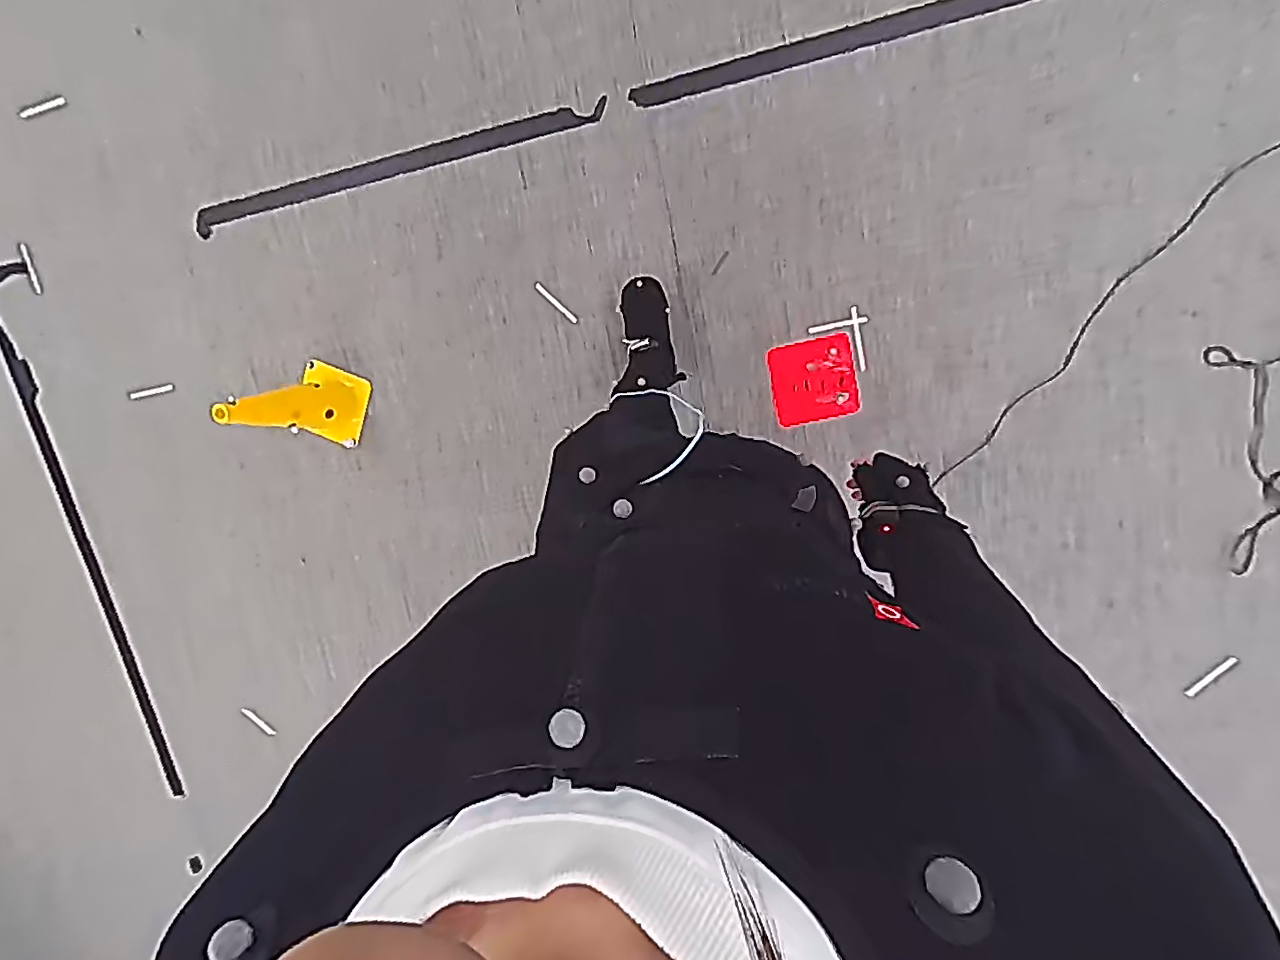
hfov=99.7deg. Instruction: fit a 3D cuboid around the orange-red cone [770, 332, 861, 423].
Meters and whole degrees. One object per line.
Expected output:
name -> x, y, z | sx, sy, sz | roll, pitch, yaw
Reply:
orange-red cone -> 0.398, -0.216, 1.148 | 0.199, 0.360, 0.198 | -10, 98, 12
